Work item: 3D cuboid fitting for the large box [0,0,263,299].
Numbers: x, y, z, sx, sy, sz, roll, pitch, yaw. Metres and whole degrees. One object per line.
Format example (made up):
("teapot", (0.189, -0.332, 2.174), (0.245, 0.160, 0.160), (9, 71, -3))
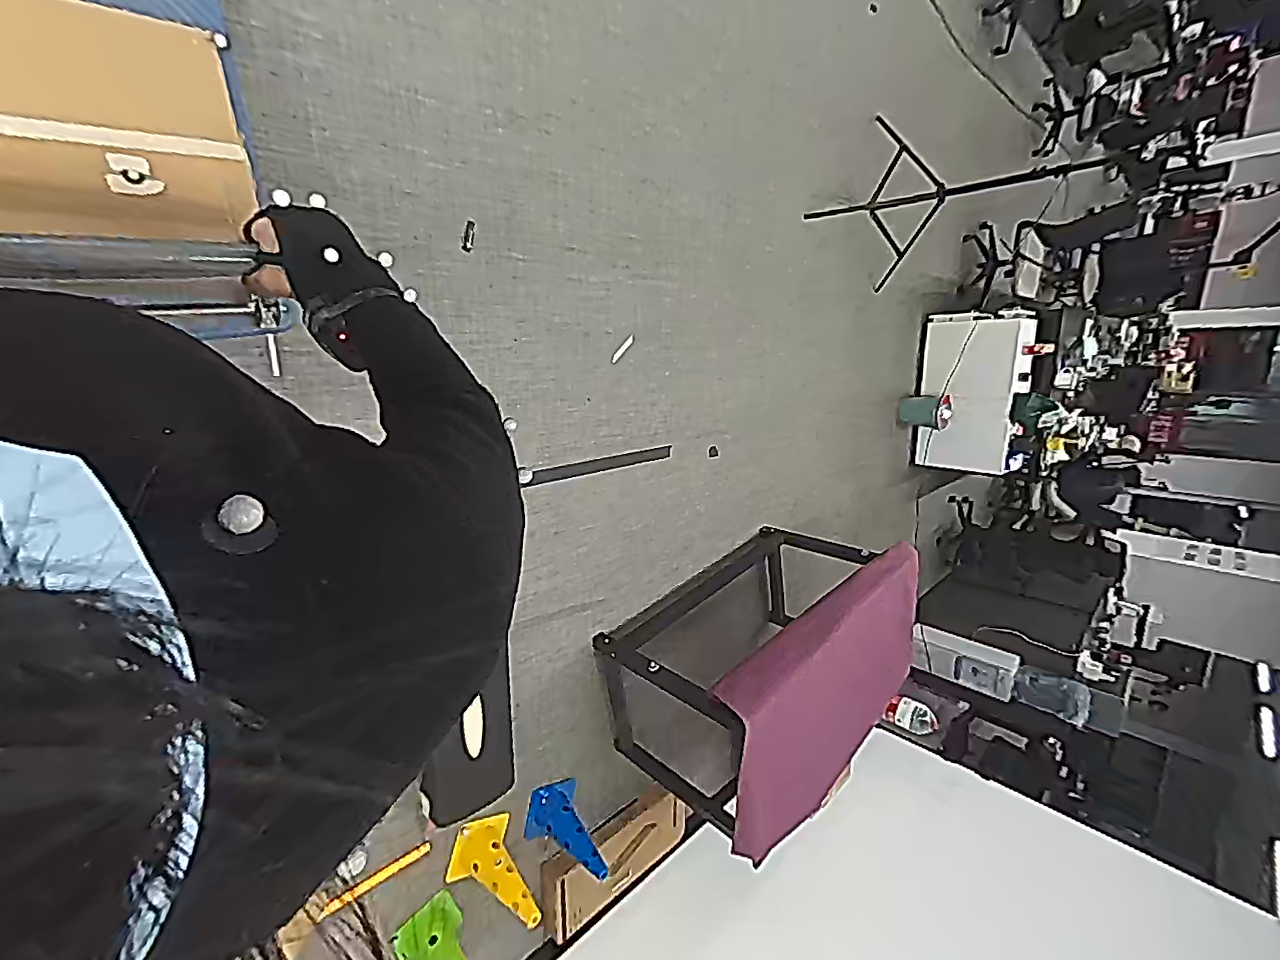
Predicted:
("large box", (-0.840, -0.439, 0.772), (0.408, 0.320, 0.320), (-19, 111, -41))
